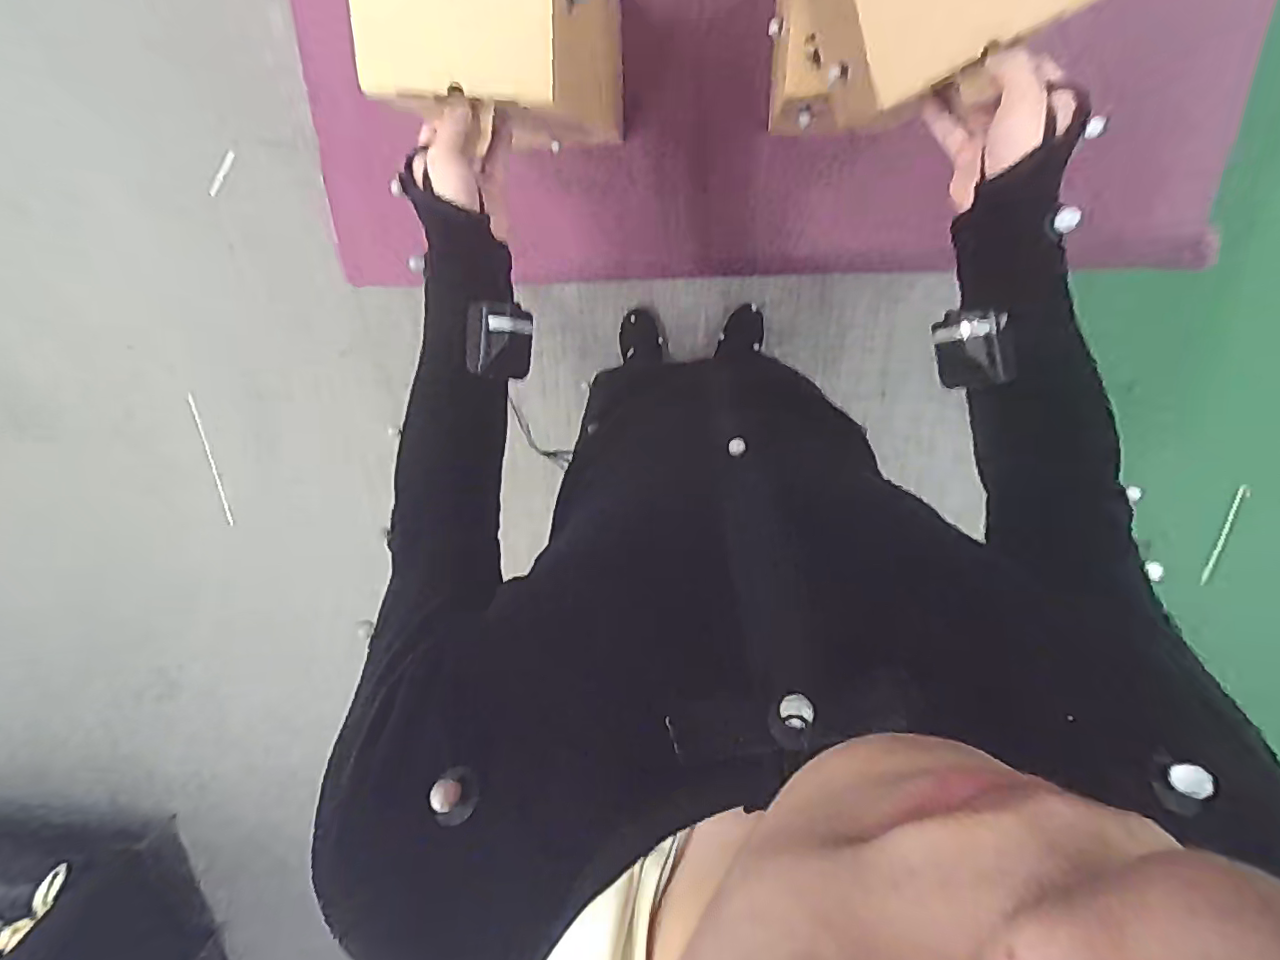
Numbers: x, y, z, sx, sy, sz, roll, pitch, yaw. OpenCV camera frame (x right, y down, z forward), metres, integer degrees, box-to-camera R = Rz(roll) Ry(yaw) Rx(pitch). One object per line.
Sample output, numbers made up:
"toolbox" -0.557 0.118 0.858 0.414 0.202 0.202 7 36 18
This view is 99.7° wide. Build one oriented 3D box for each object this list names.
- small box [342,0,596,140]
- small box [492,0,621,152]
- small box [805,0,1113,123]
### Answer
"small box" -0.135 -0.413 0.468 0.168 0.176 0.179 7 117 5
"small box" -0.116 -0.511 0.643 0.168 0.176 0.179 2 110 6
"small box" 0.236 -0.419 0.438 0.168 0.176 0.179 -20 114 17
